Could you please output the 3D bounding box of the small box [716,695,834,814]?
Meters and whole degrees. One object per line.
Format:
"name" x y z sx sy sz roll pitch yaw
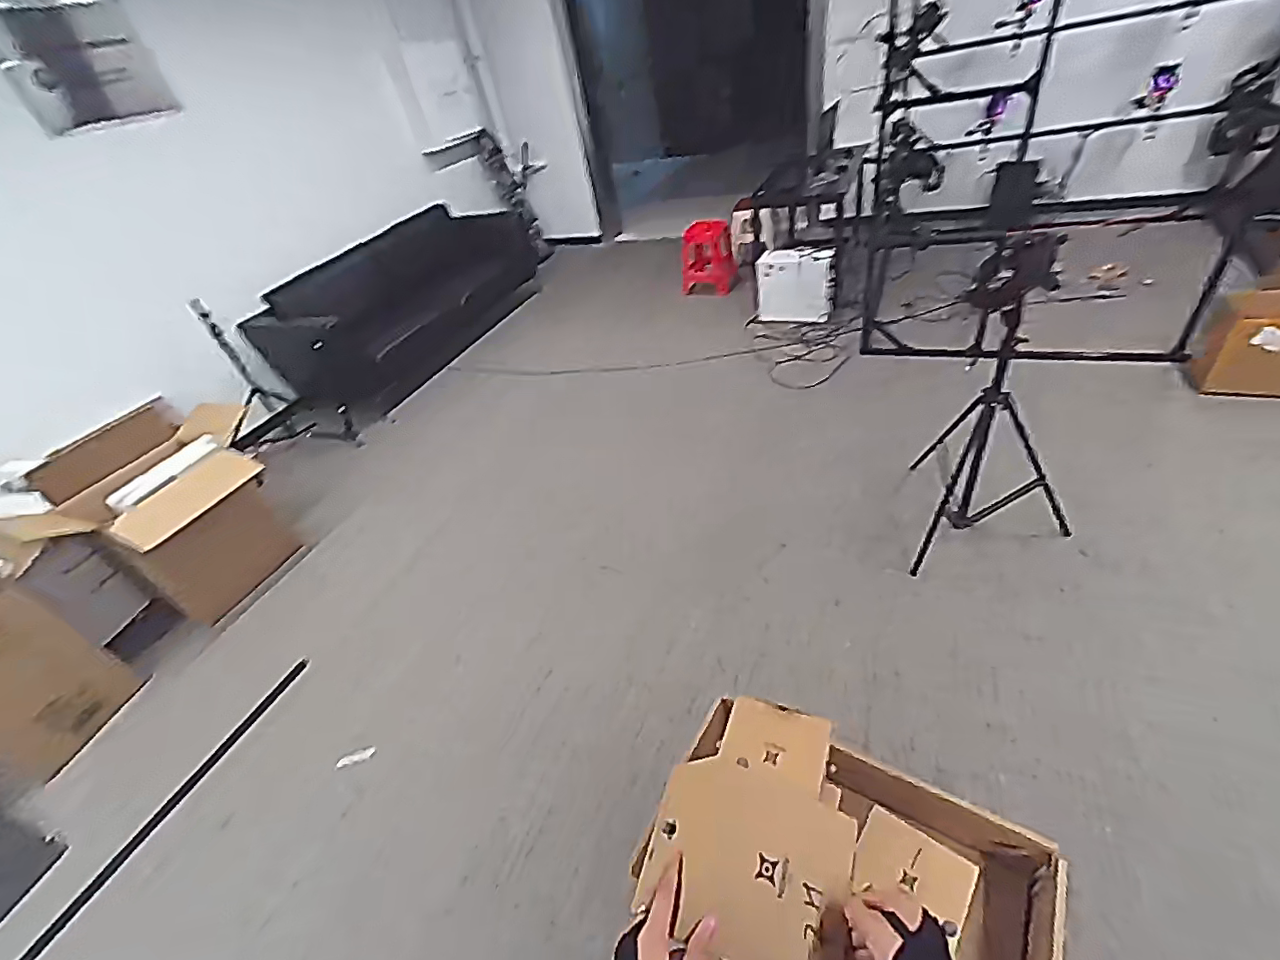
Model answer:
"small box" 0.226 0.508 0.919 0.168 0.176 0.179 9 42 24

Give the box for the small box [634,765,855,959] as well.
"small box" 0.110 0.448 0.607 0.179 0.176 0.168 25 55 -1
